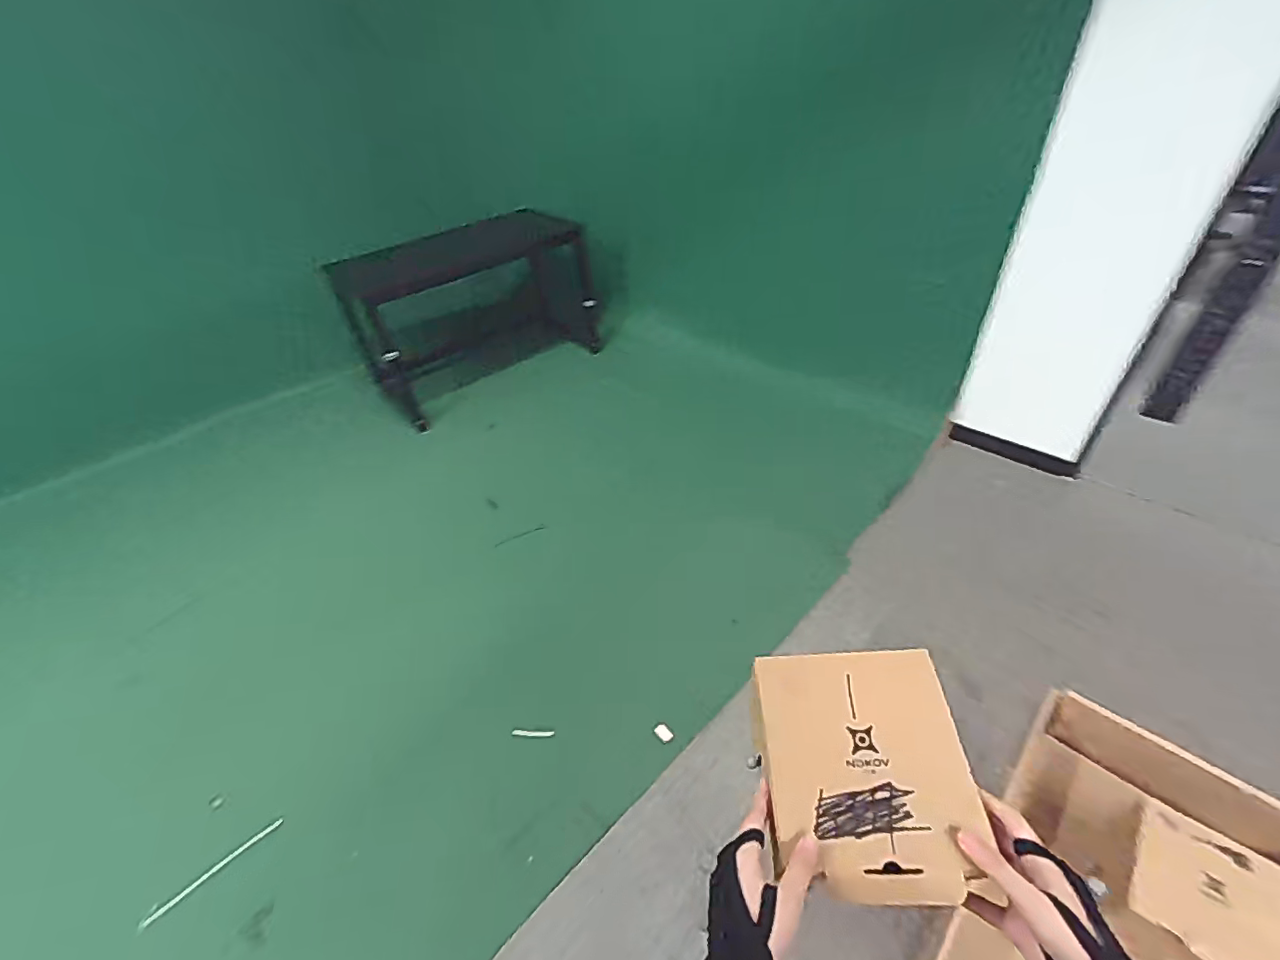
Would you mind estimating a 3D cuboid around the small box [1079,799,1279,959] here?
[{"bbox_3d":[0.777,0.616,0.781,0.168,0.176,0.179,27,52,32],"label":"small box"}]

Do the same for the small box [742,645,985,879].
[{"bbox_3d":[0.193,0.281,0.531,0.168,0.176,0.179,-4,50,5],"label":"small box"}]
